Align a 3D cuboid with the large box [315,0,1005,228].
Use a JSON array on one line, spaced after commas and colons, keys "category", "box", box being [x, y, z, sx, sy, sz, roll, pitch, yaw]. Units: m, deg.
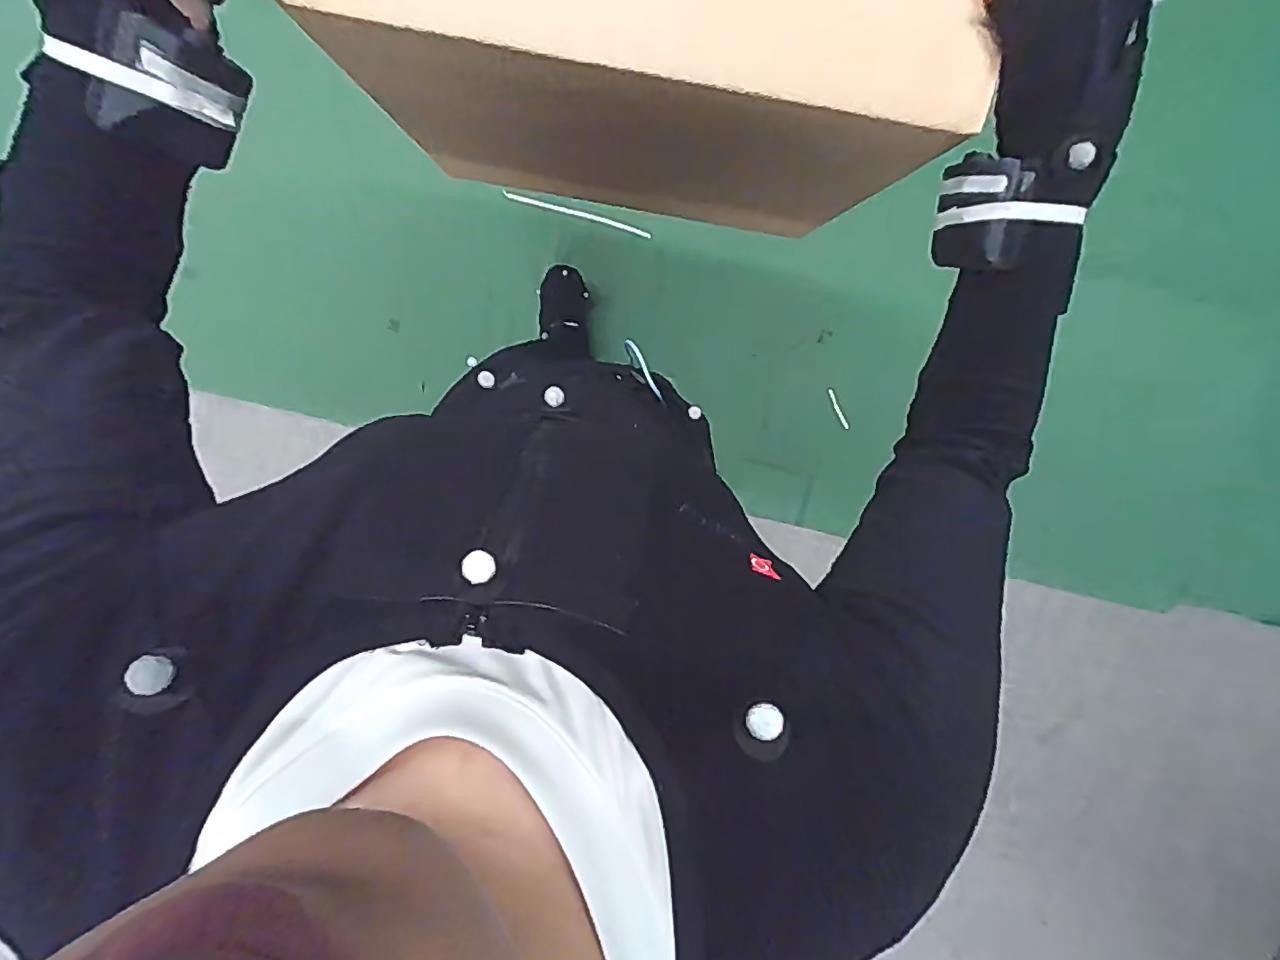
[{"category": "large box", "box": [0.020, -0.421, 0.427, 0.408, 0.320, 0.320, 7, 104, -6]}]
